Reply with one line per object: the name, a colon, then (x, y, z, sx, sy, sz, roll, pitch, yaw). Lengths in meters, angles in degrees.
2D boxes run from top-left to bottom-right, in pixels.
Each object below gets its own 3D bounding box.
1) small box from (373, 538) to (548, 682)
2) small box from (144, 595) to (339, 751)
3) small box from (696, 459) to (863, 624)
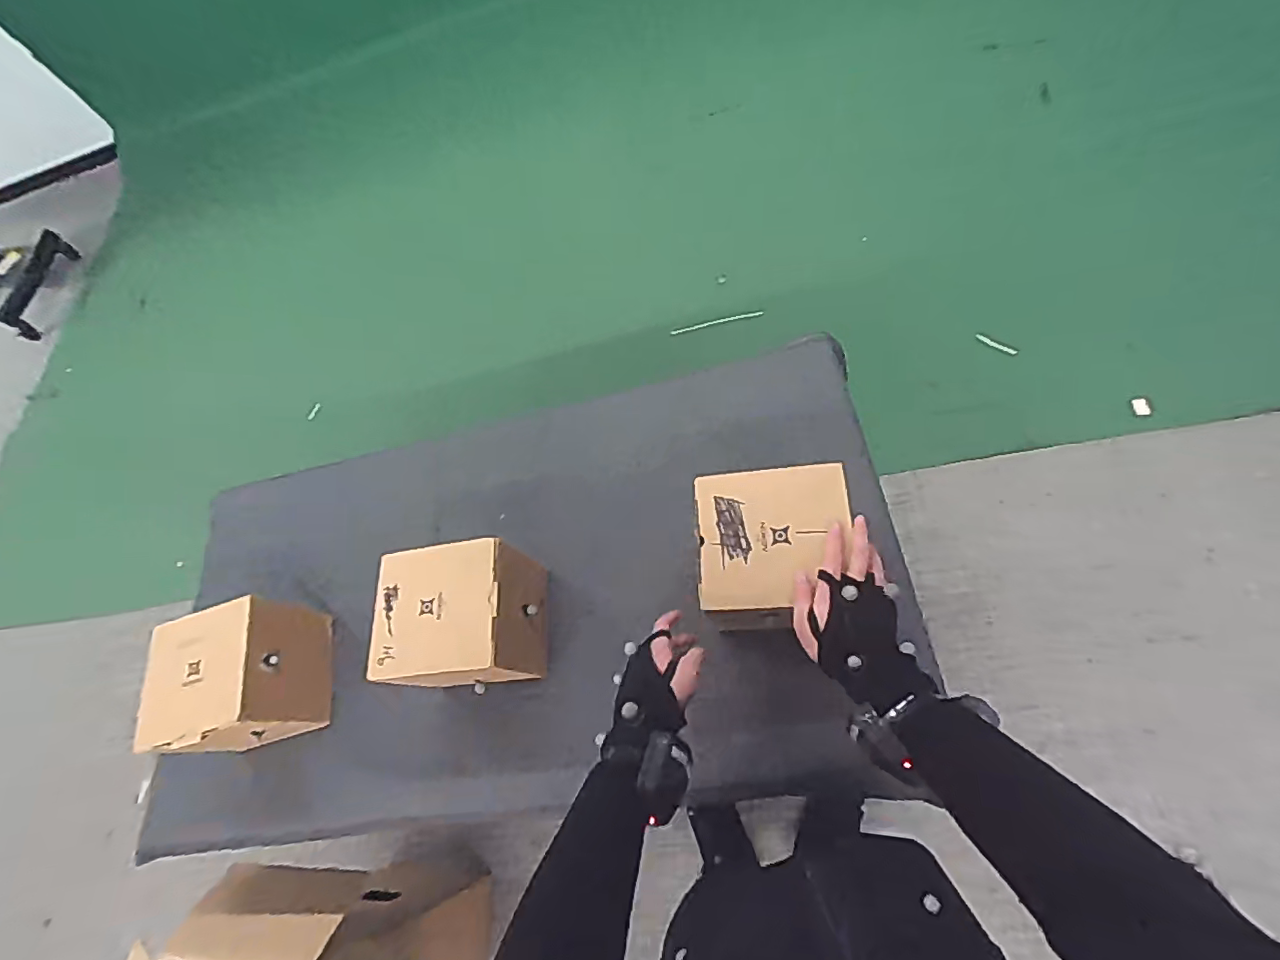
small box: (-0.239, 0.191, 0.767, 0.179, 0.176, 0.168, -10, 65, 11)
small box: (-0.589, 0.297, 0.824, 0.168, 0.176, 0.179, -19, 62, 6)
small box: (0.173, 0.088, 0.689, 0.179, 0.176, 0.168, -6, 67, 13)
